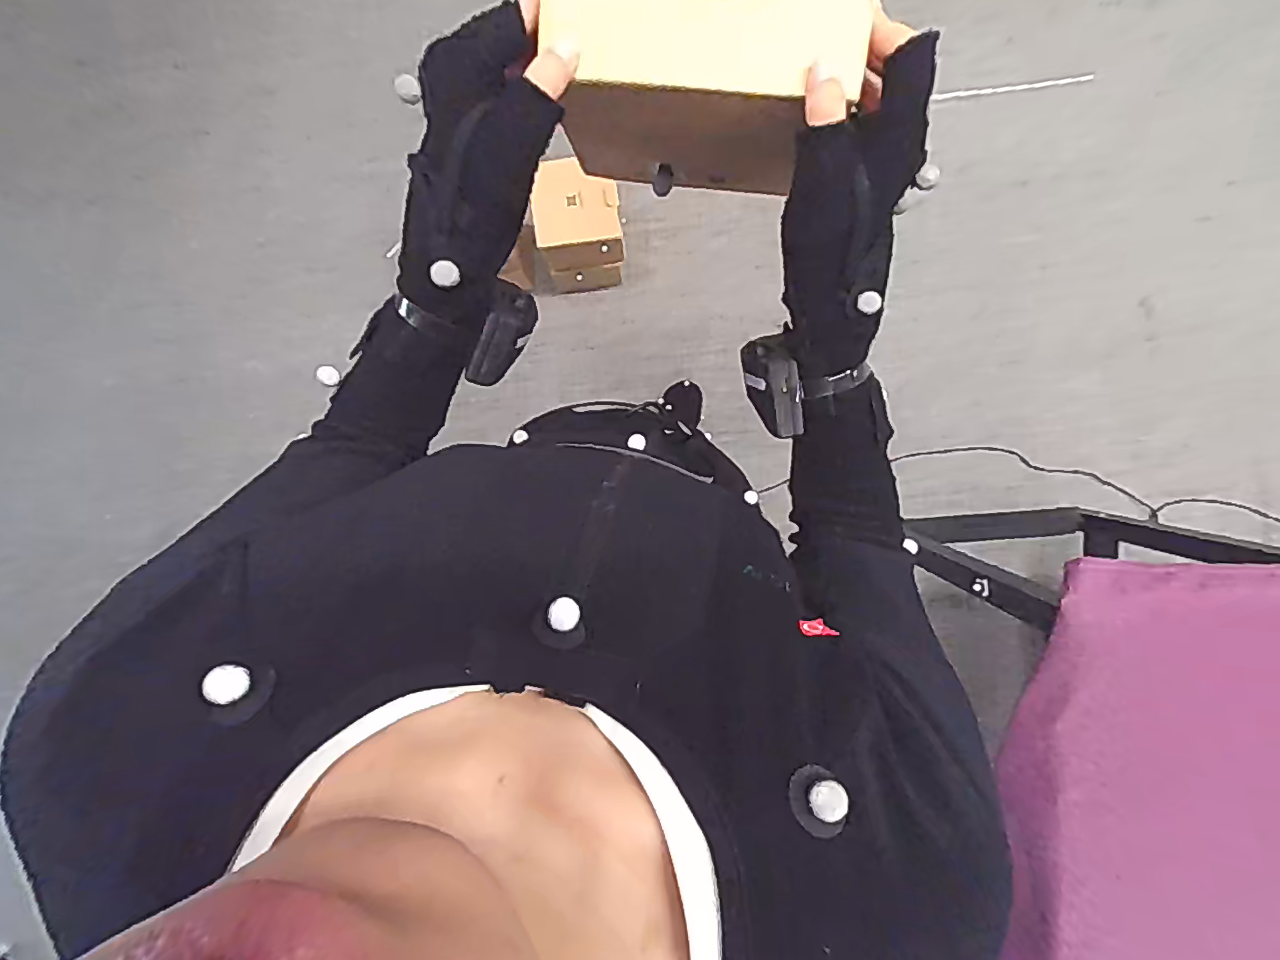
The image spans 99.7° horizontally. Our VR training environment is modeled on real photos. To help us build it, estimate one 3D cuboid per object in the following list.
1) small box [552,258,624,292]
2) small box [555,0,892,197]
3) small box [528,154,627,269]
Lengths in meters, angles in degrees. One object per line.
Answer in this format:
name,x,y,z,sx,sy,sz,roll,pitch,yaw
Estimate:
small box,-0.130,-0.577,1.321,0.168,0.176,0.179,-7,95,2
small box,0.049,-0.298,0.333,0.168,0.176,0.179,6,104,3
small box,-0.127,-0.564,1.158,0.179,0.176,0.168,-8,96,1
